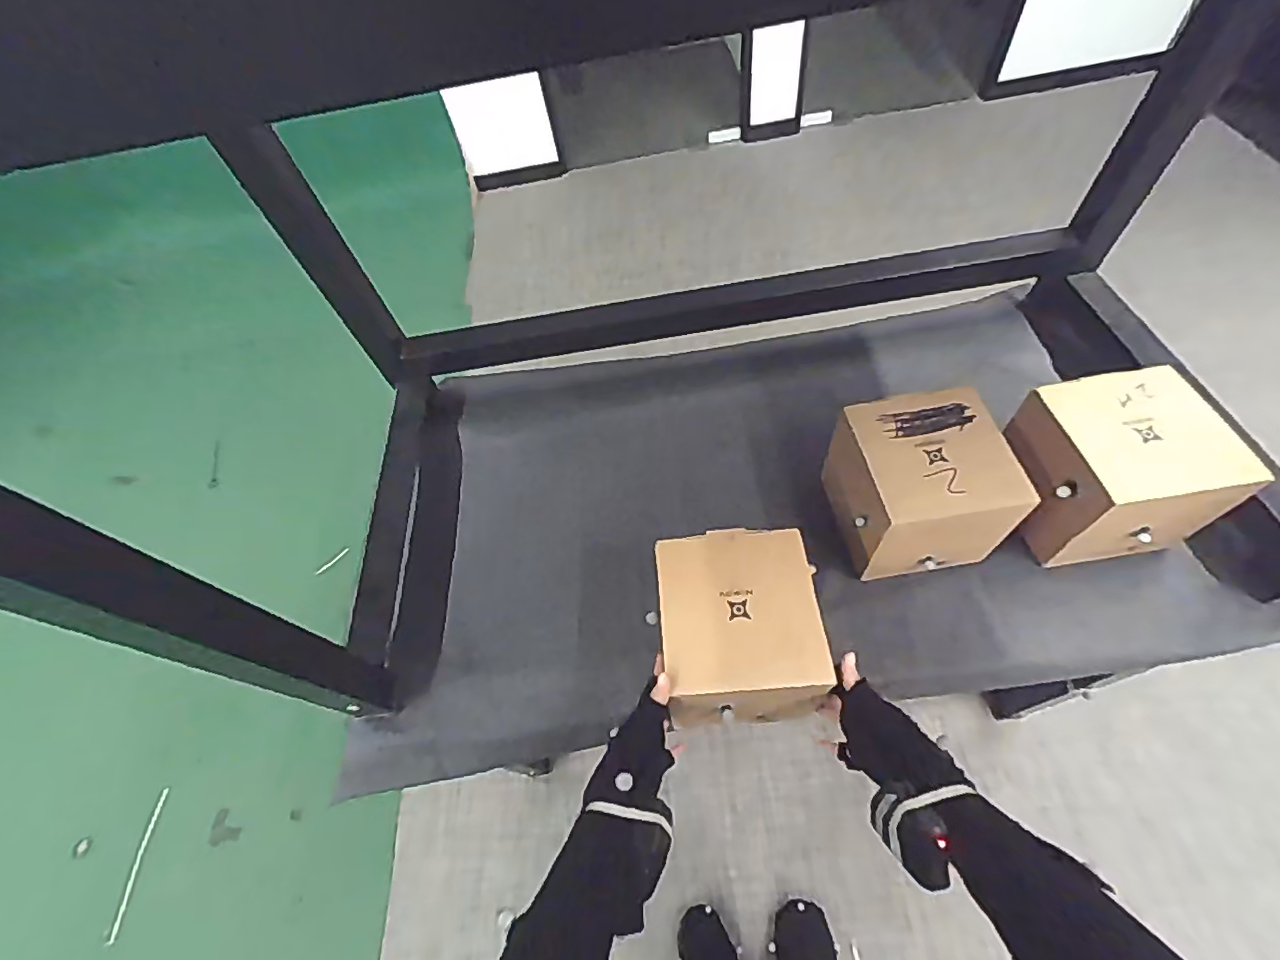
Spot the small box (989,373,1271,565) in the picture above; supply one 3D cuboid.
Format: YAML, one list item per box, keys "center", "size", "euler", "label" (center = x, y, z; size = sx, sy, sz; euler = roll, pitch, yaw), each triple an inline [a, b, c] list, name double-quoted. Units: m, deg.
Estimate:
- center: [0.591, -0.004, 0.687]
  size: [0.168, 0.176, 0.179]
  euler: [-10, 55, 2]
  label: "small box"
